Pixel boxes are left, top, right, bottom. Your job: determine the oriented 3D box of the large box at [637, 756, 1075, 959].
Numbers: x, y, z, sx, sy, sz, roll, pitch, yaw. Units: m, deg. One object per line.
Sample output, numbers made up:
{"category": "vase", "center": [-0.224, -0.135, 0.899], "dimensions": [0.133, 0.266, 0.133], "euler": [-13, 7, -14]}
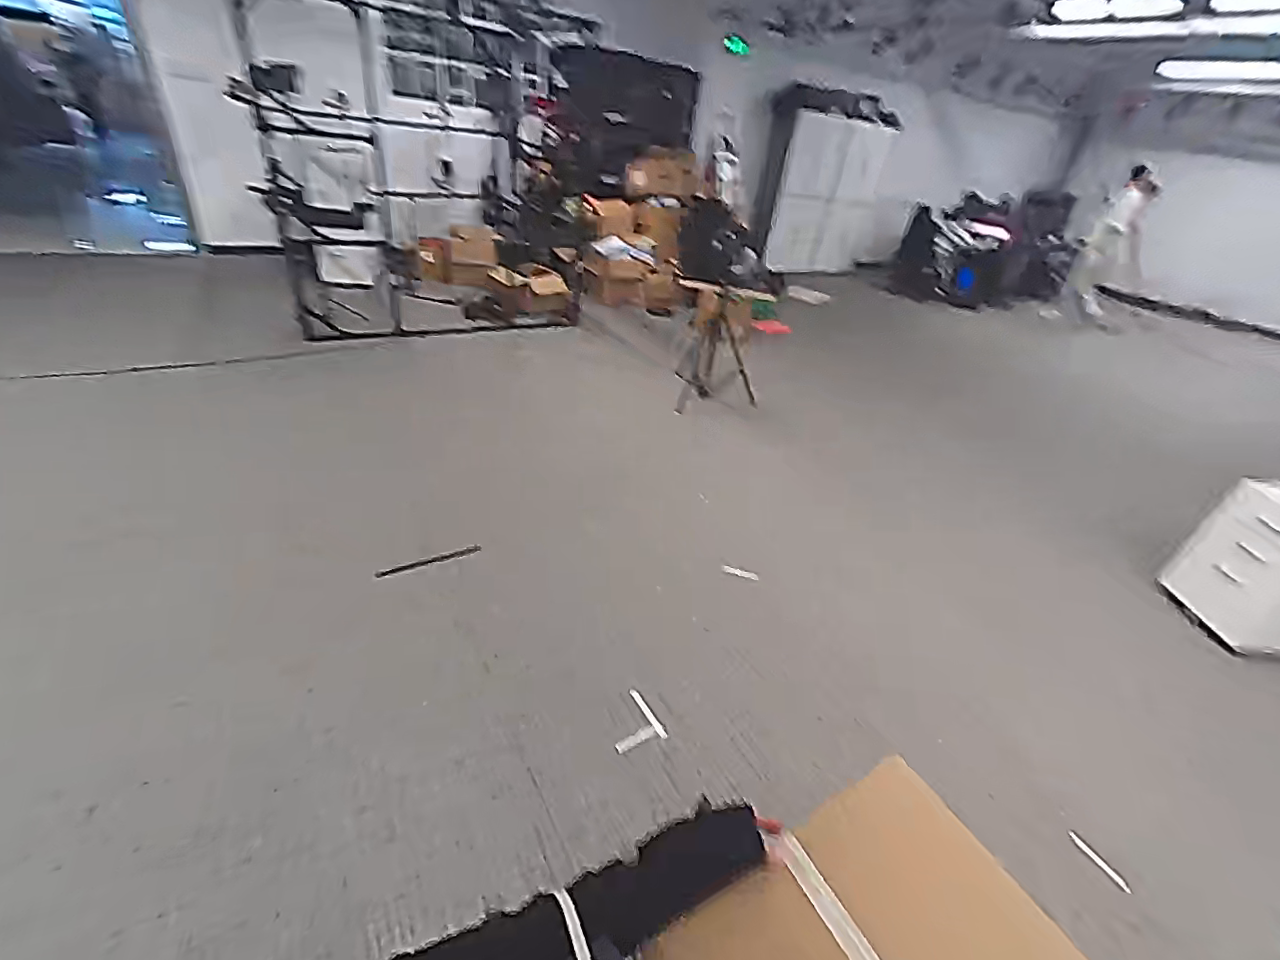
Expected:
{"category": "large box", "center": [0.217, 0.551, 0.464], "dimensions": [0.320, 0.320, 0.408], "euler": [-19, 45, -25]}
